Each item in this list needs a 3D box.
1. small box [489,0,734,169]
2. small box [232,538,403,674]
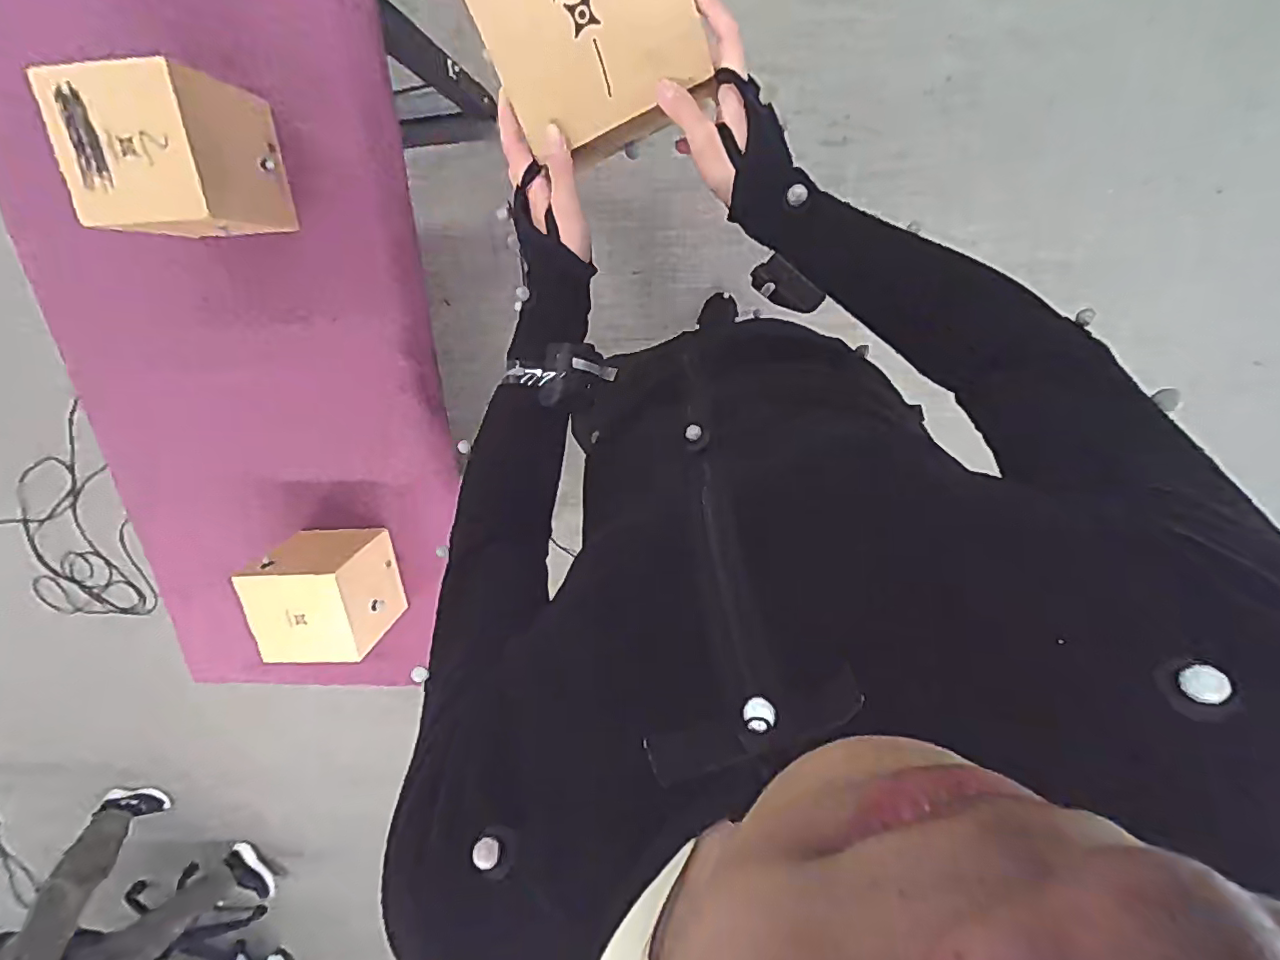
[{"bbox_3d":[-0.027,-0.406,0.485,0.168,0.176,0.179,-19,115,13],"label":"small box"},{"bbox_3d":[-0.526,0.207,0.917,0.179,0.176,0.168,-3,109,6],"label":"small box"}]
